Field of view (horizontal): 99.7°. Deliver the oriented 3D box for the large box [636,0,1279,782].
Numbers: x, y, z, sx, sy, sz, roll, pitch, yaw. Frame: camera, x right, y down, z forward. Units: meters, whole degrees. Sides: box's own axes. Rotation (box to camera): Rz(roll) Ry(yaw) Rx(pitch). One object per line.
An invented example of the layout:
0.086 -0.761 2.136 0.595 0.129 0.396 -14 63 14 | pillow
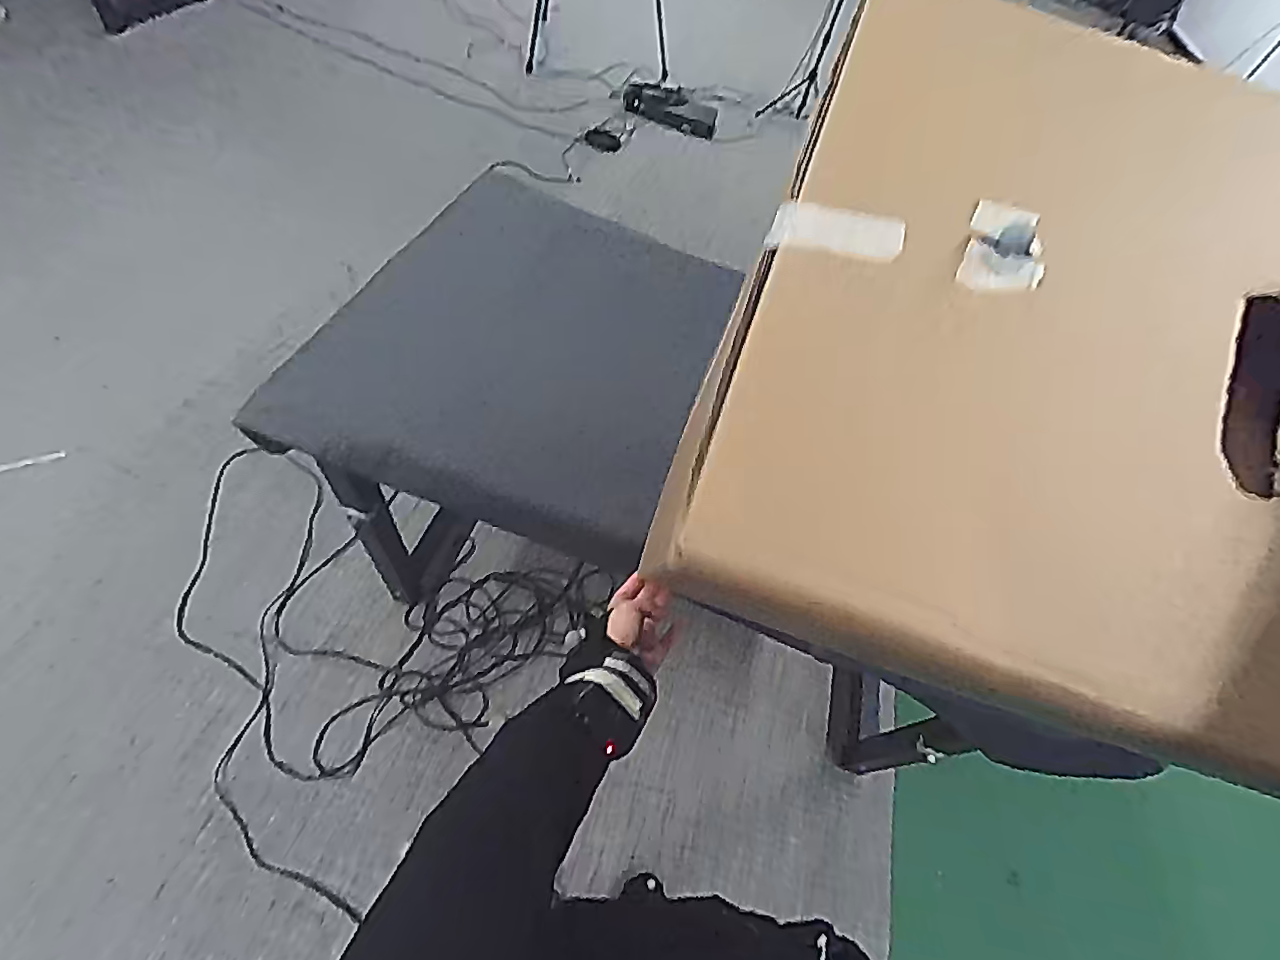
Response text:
0.193 -0.029 0.437 0.320 0.408 0.320 20 80 0 | large box
